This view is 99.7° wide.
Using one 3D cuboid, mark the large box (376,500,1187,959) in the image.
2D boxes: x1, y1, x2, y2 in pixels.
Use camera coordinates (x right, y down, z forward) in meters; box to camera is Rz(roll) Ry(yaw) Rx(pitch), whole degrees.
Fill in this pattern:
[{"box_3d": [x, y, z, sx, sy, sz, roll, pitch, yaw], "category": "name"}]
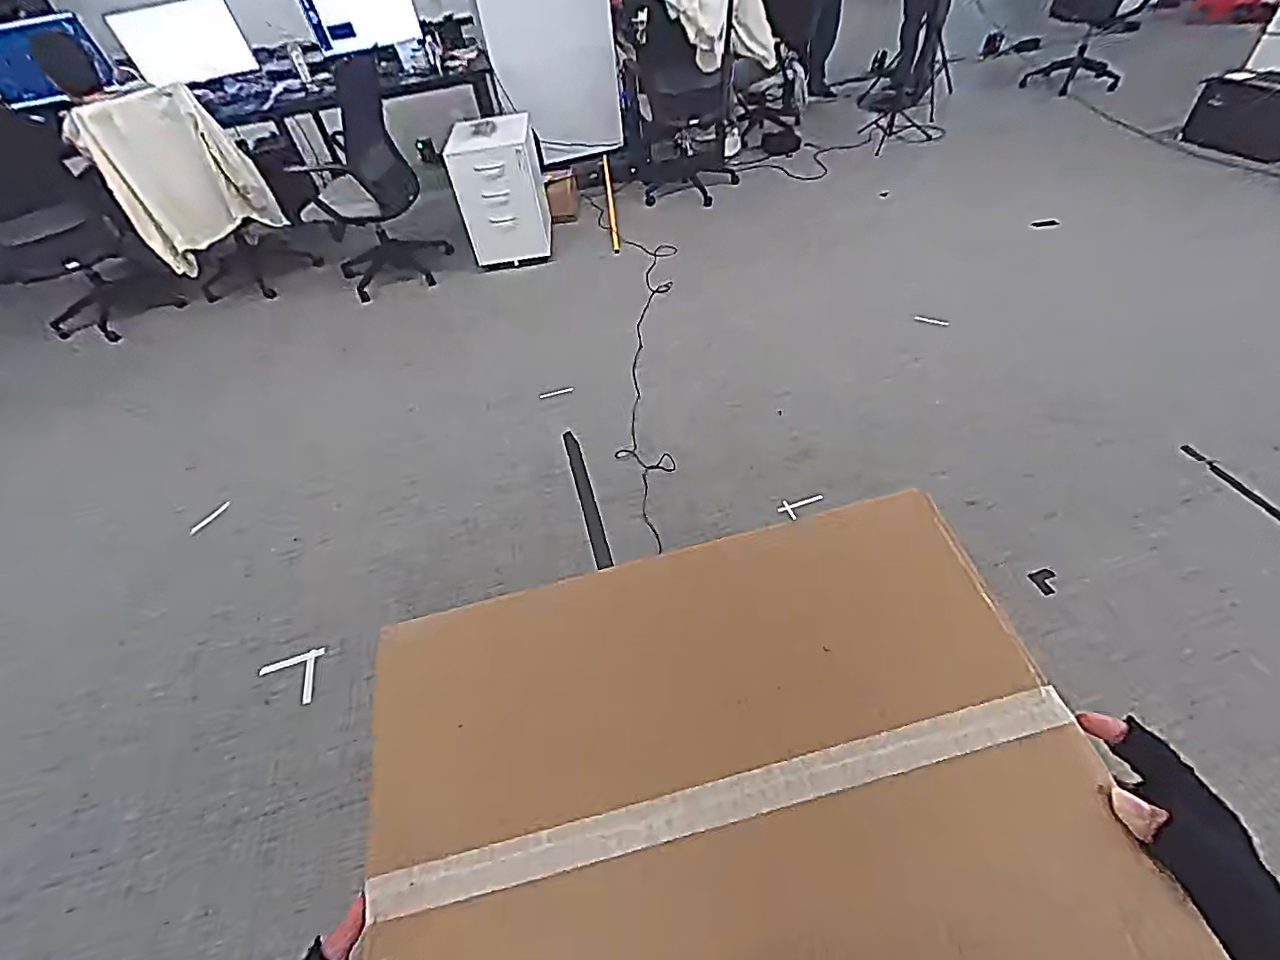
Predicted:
[{"box_3d": [0.061, 0.267, 0.440, 0.408, 0.320, 0.320, -15, 55, -2], "category": "large box"}]
